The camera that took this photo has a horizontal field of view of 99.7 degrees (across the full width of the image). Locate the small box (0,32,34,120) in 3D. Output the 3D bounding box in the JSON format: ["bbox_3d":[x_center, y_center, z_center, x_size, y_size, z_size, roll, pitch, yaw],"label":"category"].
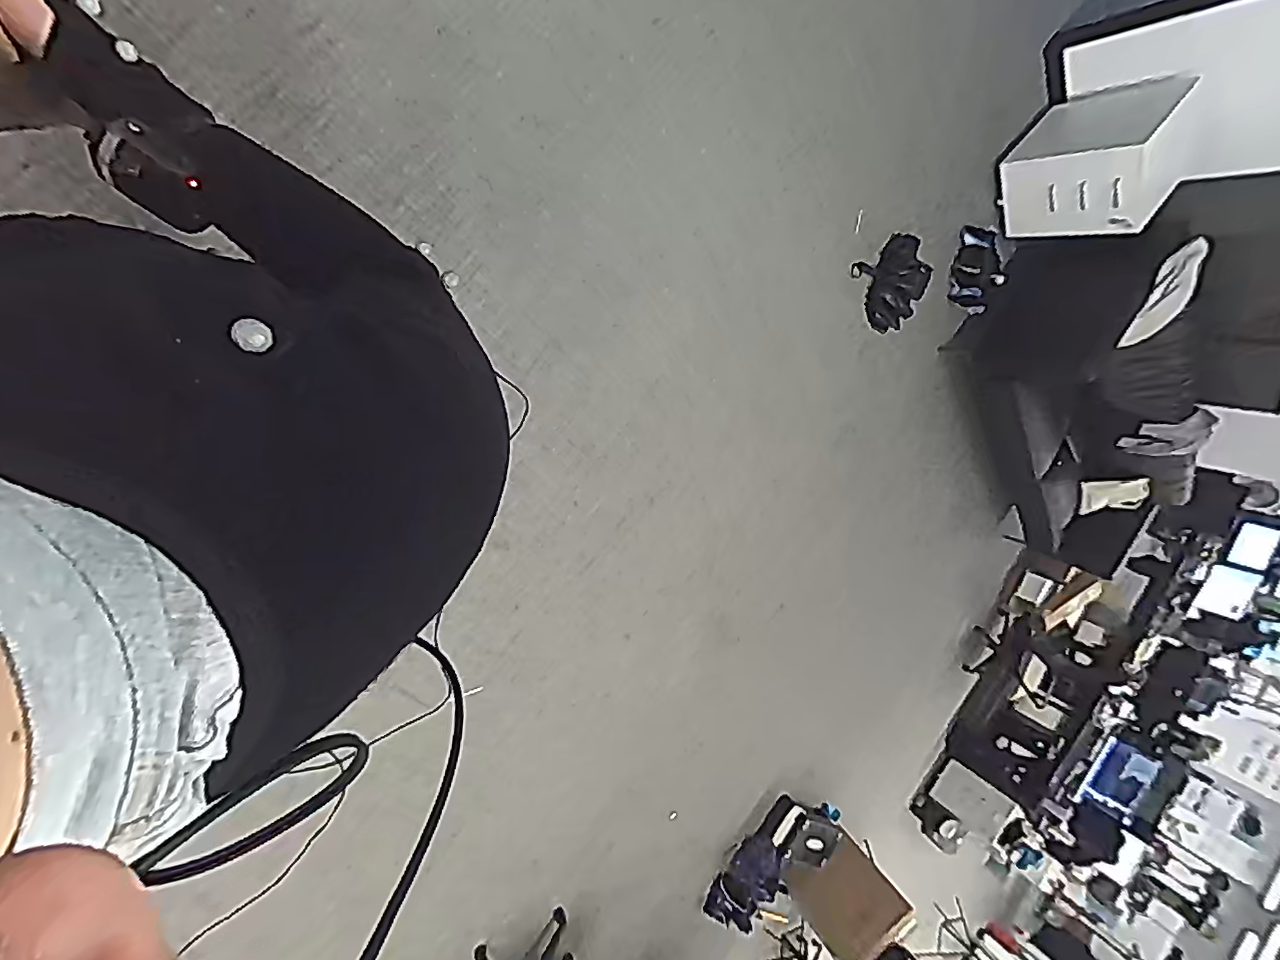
[{"bbox_3d":[-0.470,-0.281,0.260,0.168,0.176,0.179,-25,121,-24],"label":"small box"}]
